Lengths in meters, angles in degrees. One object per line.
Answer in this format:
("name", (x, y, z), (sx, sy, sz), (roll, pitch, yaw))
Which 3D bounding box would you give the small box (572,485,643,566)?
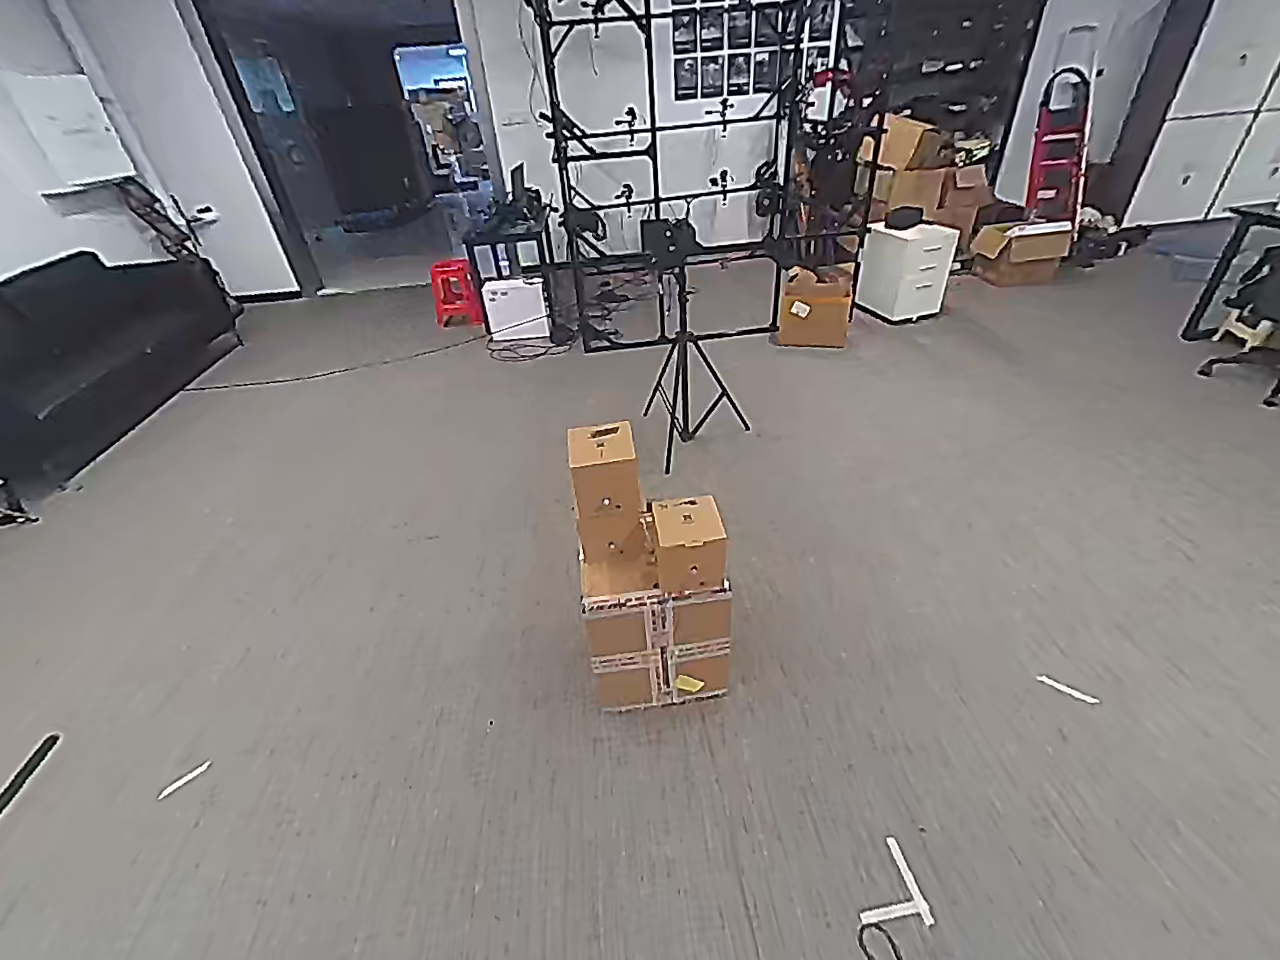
("small box", (-0.091, 0.113, 1.515), (0.168, 0.176, 0.179), (-11, 38, -5))

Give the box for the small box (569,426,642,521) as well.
("small box", (-0.091, -0.017, 1.413), (0.168, 0.176, 0.179), (-9, 38, -2))

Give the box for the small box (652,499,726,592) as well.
("small box", (0.125, 0.174, 1.404), (0.168, 0.176, 0.179), (-6, 38, -4))
